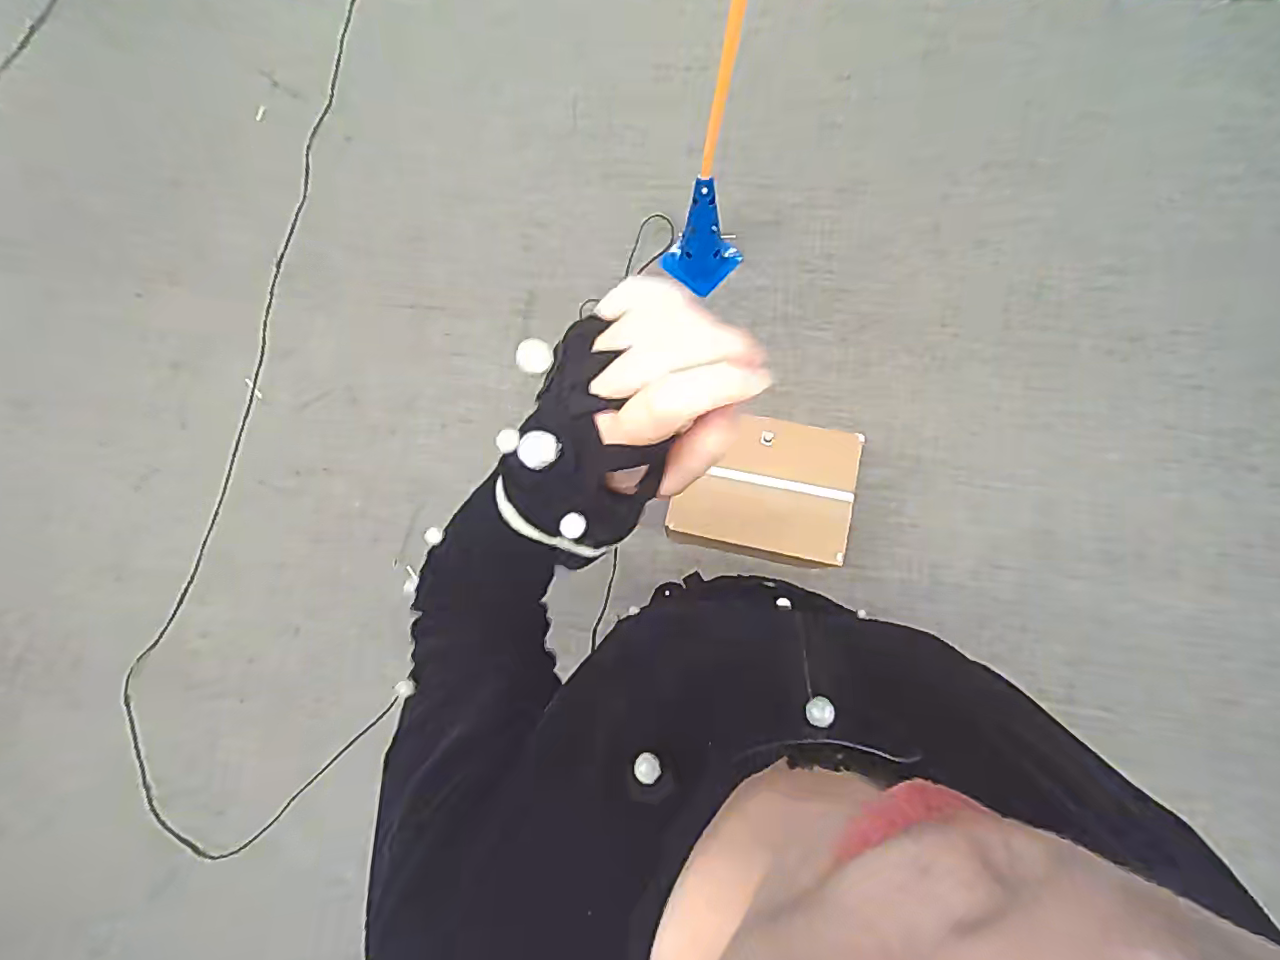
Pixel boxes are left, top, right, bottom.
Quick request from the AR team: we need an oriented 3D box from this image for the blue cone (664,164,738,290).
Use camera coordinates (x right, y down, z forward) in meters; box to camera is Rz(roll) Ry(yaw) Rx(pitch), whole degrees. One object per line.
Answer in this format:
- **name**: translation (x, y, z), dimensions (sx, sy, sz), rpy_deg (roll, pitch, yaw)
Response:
- **blue cone**: translation (0.179, -0.740, 1.531), dimensions (0.192, 0.380, 0.193), rpy_deg (40, 83, 10)
